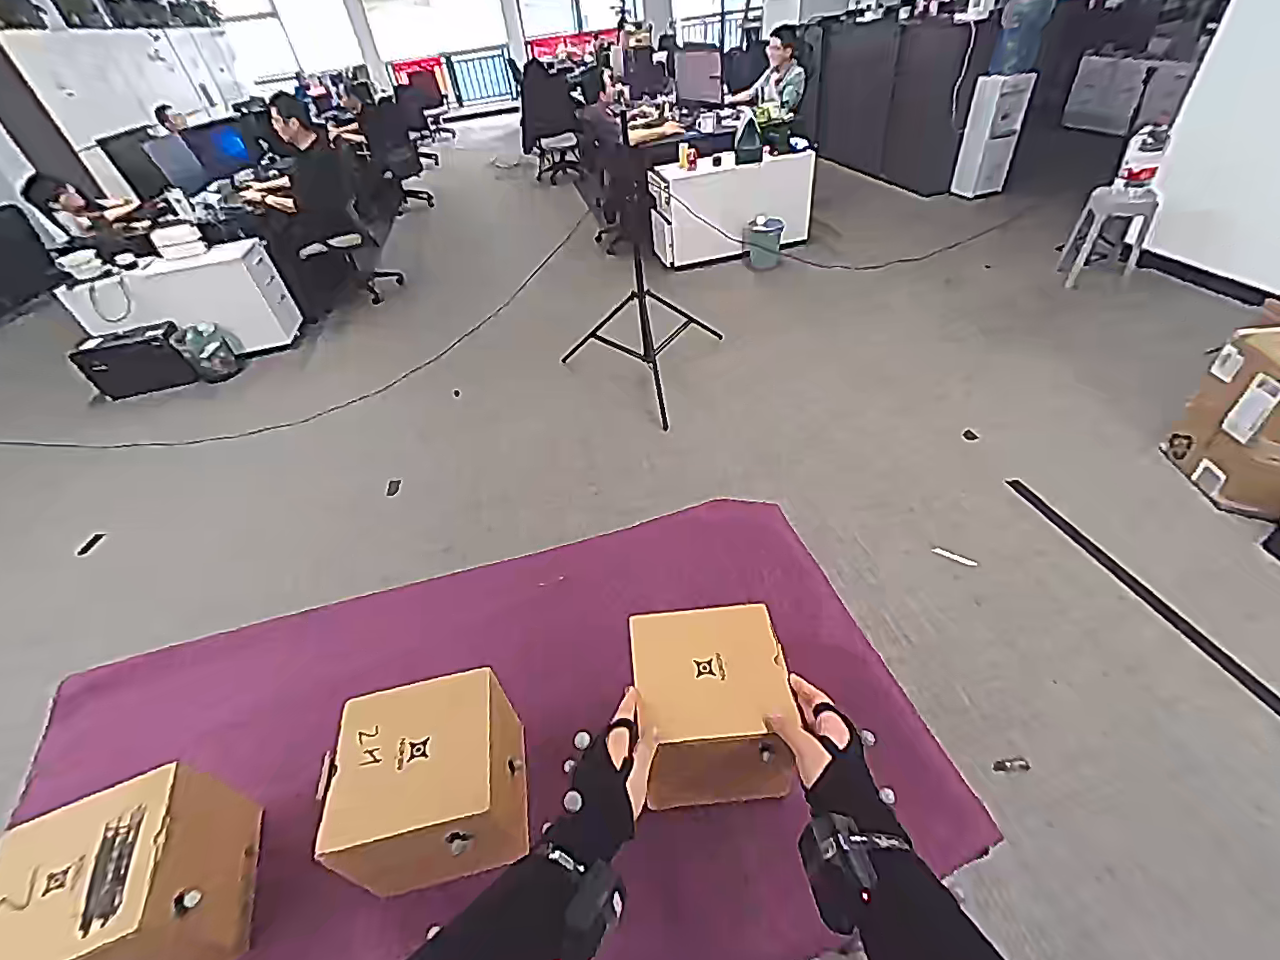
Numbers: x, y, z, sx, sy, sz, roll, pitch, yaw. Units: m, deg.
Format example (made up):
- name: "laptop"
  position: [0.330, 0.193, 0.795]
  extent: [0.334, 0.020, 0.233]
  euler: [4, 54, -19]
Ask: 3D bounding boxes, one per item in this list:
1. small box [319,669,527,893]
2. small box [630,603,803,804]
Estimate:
- name: "small box"
  position: [-0.237, 0.358, 0.646]
  extent: [0.179, 0.176, 0.168]
  euler: [-13, 41, -5]
- name: "small box"
  position: [0.086, 0.278, 0.671]
  extent: [0.179, 0.176, 0.168]
  euler: [-6, 39, -2]
